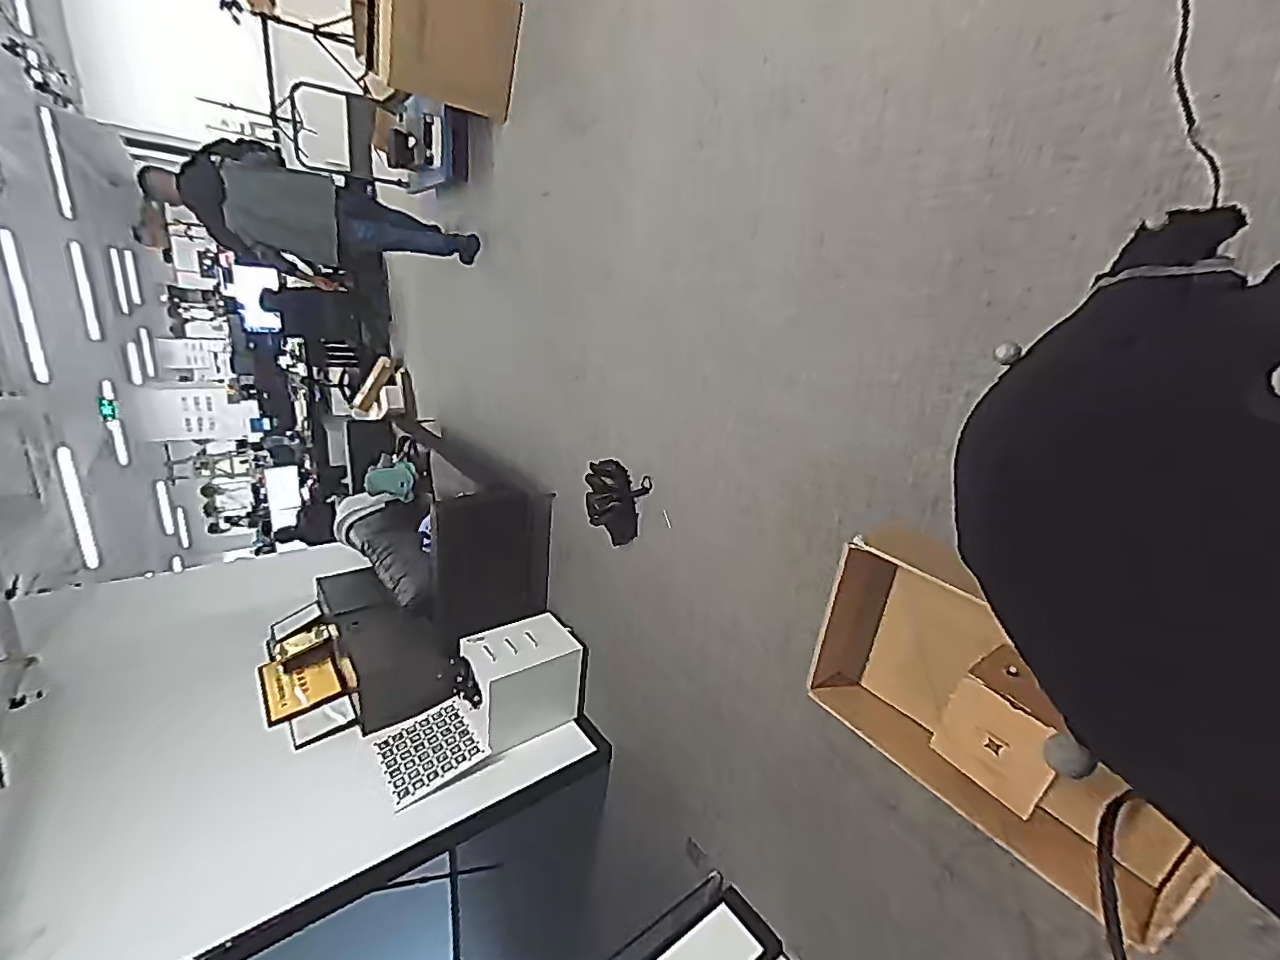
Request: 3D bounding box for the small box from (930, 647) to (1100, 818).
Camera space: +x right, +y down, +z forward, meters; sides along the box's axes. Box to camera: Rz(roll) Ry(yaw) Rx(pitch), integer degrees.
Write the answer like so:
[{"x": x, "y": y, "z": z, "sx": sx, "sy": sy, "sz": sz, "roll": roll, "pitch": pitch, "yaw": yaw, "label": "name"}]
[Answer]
[{"x": 0.645, "y": 0.419, "z": 0.930, "sx": 0.168, "sy": 0.176, "sz": 0.179, "roll": 34, "pitch": 126, "yaw": 47, "label": "small box"}]
